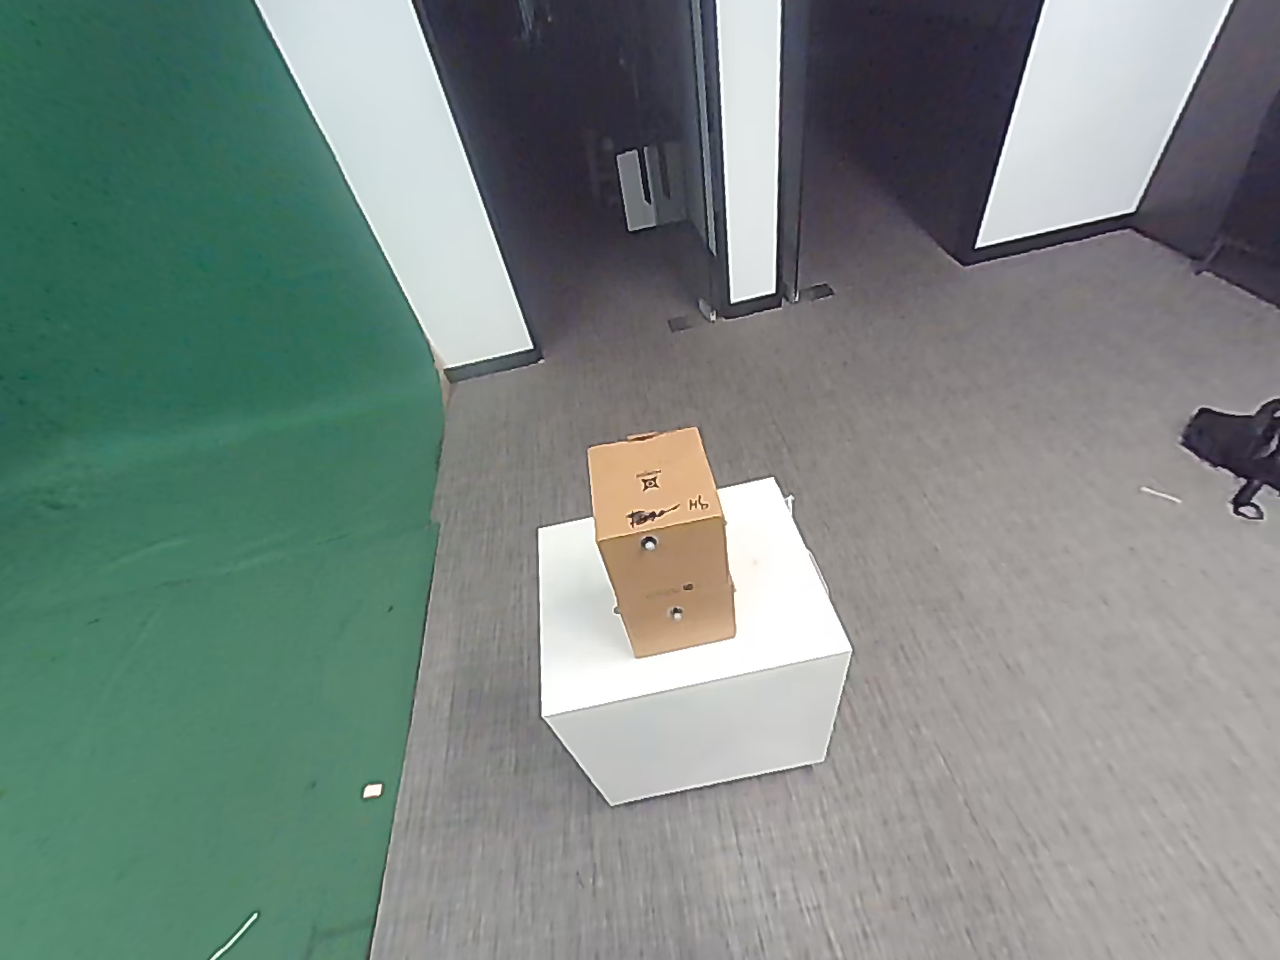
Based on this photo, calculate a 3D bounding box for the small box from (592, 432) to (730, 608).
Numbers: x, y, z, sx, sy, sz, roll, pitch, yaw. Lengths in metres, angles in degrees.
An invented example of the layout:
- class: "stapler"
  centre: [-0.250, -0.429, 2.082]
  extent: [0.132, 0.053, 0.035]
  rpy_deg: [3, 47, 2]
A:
- class: "small box"
  centre: [0.030, 0.060, 0.799]
  extent: [0.168, 0.176, 0.179]
  rpy_deg: [-13, 46, -1]

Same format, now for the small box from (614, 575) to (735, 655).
- class: "small box"
  centre: [0.054, 0.173, 0.911]
  extent: [0.179, 0.176, 0.168]
  rpy_deg: [-12, 46, 0]
